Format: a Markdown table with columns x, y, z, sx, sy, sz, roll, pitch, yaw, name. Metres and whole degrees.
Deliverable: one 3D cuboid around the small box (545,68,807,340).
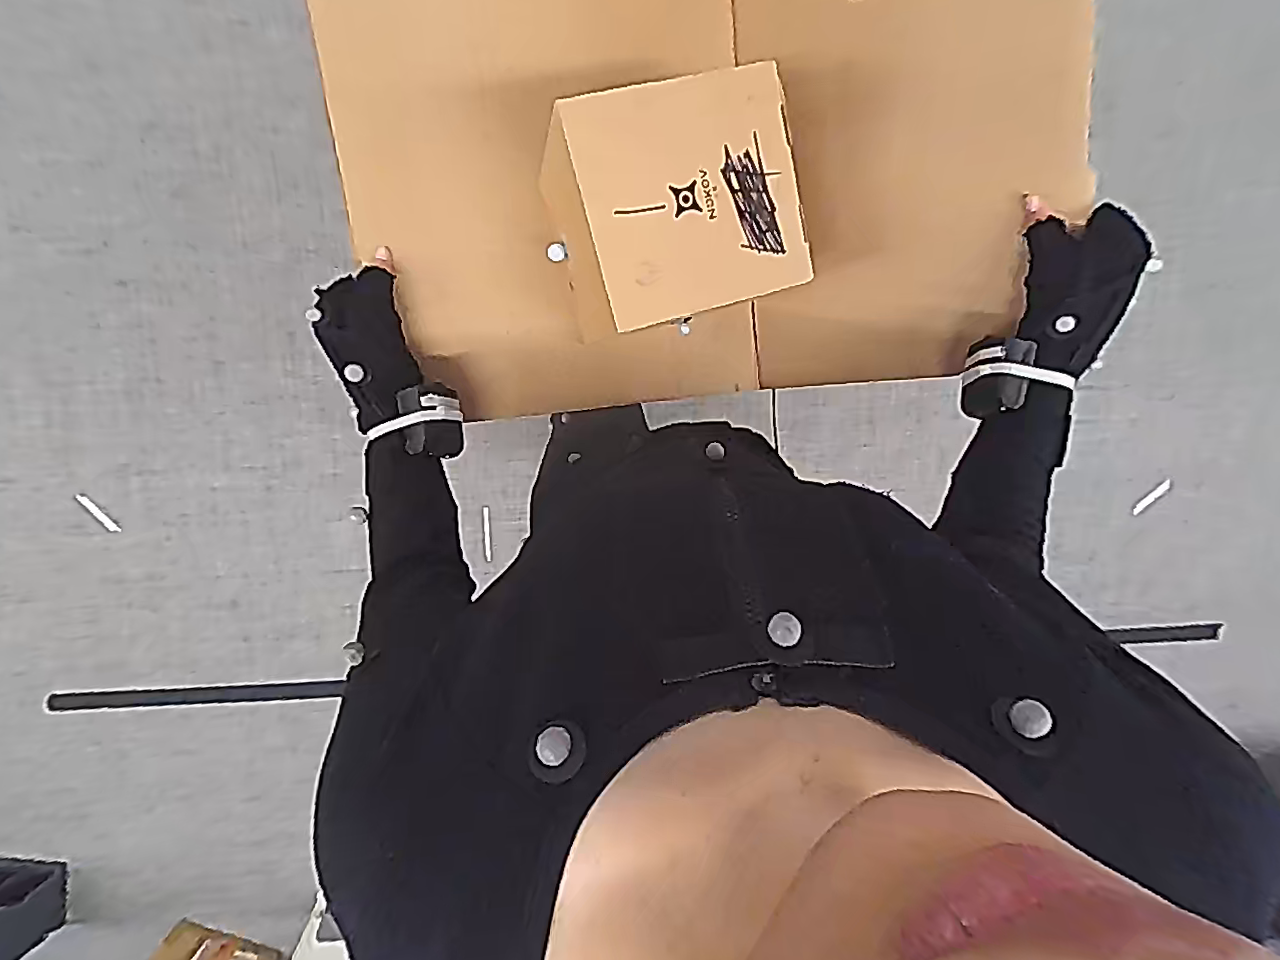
| x | y | z | sx | sy | sz | roll | pitch | yaw | name |
| --- | --- | --- | --- | --- | --- | --- | --- | --- | --- |
| 0.022 | -0.234 | 0.499 | 0.179 | 0.176 | 0.168 | -18 | 104 | -10 | small box |
